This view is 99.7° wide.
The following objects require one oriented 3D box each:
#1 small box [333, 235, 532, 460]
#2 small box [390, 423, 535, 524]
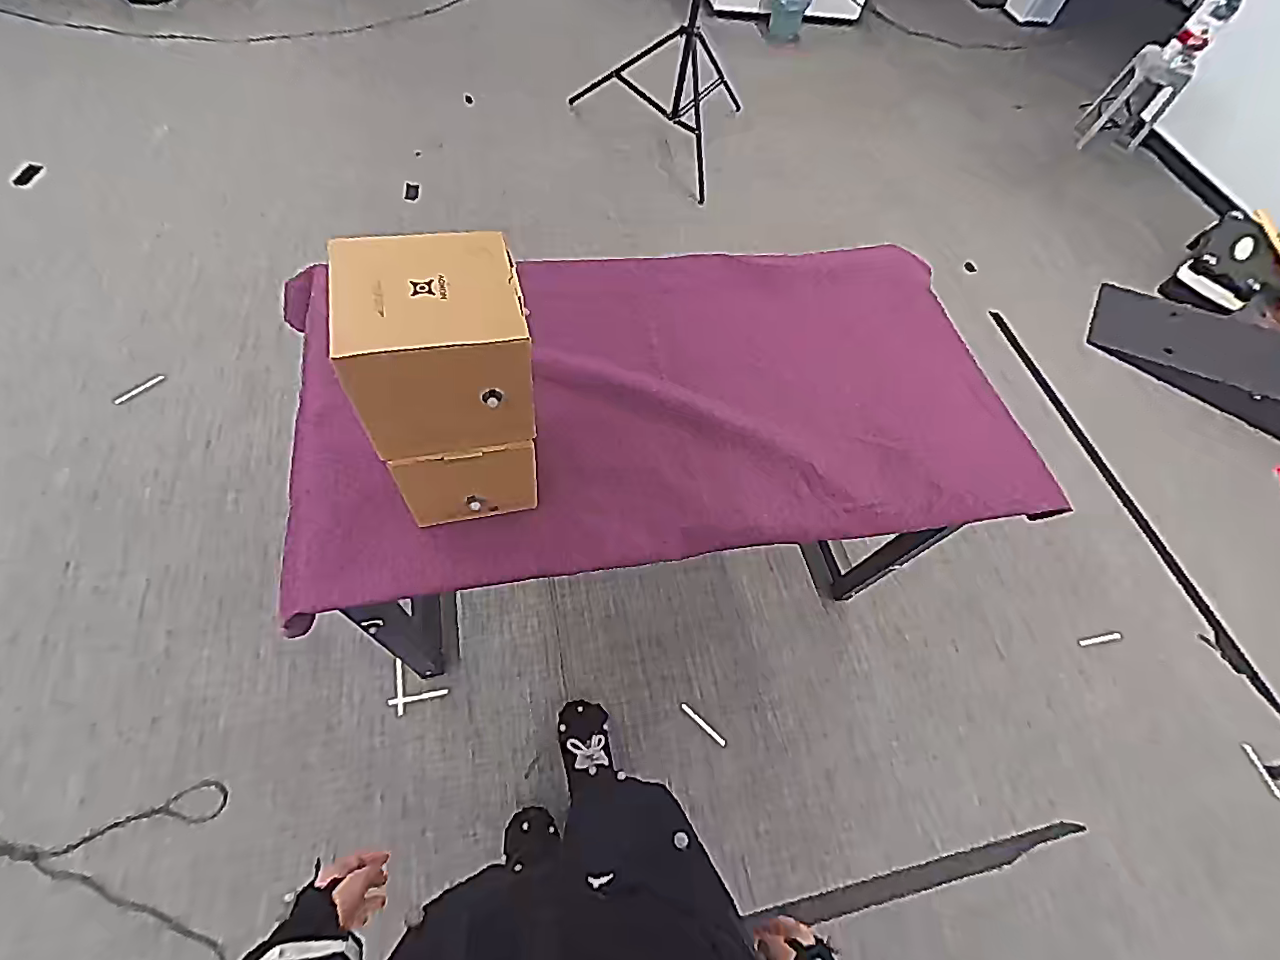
[{"bbox_3d":[-0.218,-0.143,0.601,0.179,0.176,0.168,-11,61,-14],"label":"small box"},{"bbox_3d":[-0.239,-0.062,0.740,0.168,0.176,0.179,-9,62,-14],"label":"small box"}]
